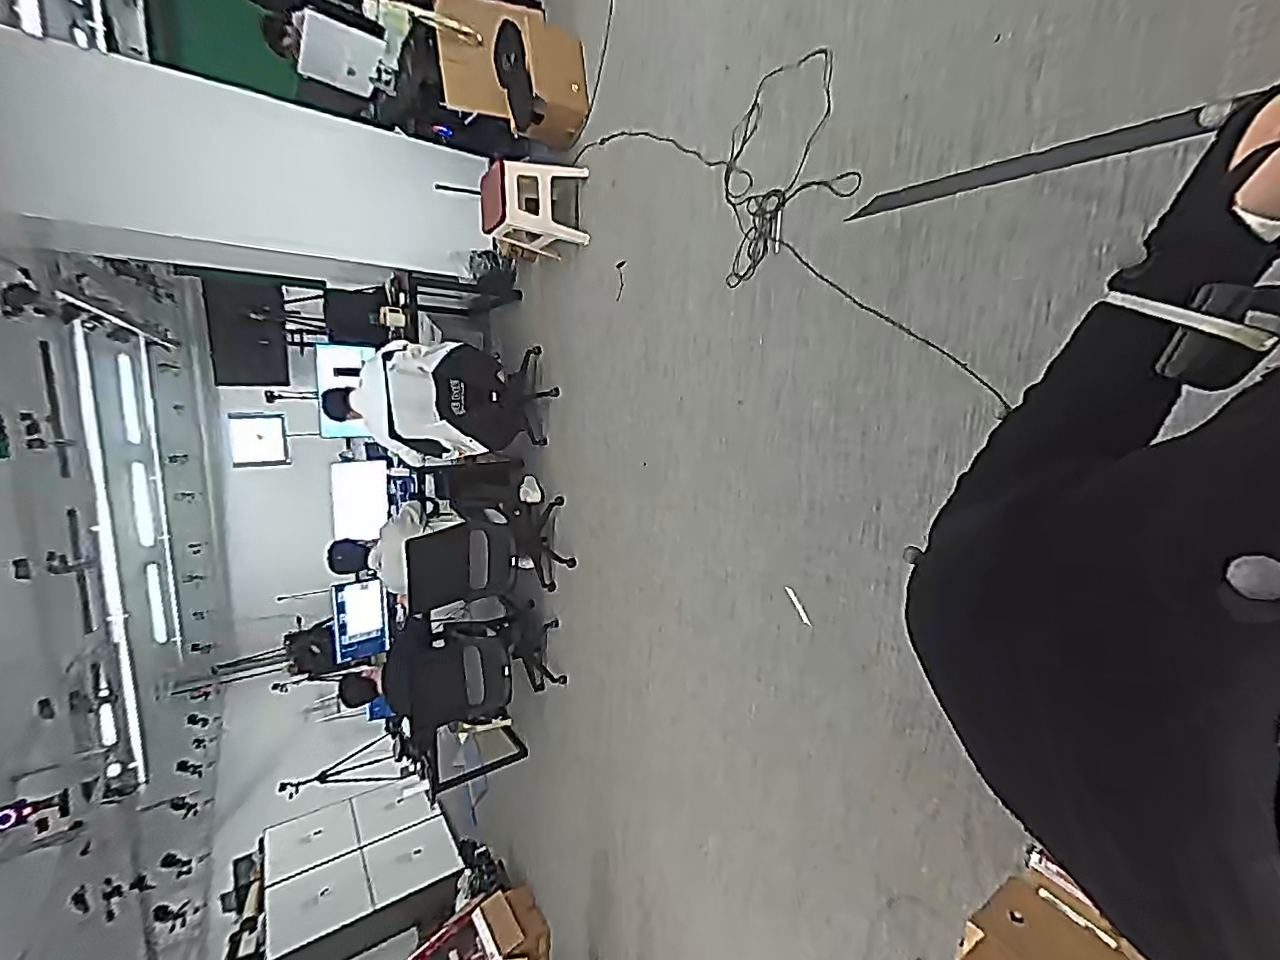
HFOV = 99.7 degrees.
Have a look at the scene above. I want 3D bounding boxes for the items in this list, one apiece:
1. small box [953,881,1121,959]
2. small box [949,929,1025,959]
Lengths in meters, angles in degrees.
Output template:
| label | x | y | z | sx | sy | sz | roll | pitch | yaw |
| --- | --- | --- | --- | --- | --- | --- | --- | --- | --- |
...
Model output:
| label | x | y | z | sx | sy | sz | roll | pitch | yaw |
| --- | --- | --- | --- | --- | --- | --- | --- | --- | --- |
| small box | 0.665 | 0.833 | 0.919 | 0.179 | 0.176 | 0.168 | 20 | 111 | 53 |
| small box | 0.539 | 0.847 | 0.812 | 0.168 | 0.176 | 0.179 | 27 | 115 | 53 |
